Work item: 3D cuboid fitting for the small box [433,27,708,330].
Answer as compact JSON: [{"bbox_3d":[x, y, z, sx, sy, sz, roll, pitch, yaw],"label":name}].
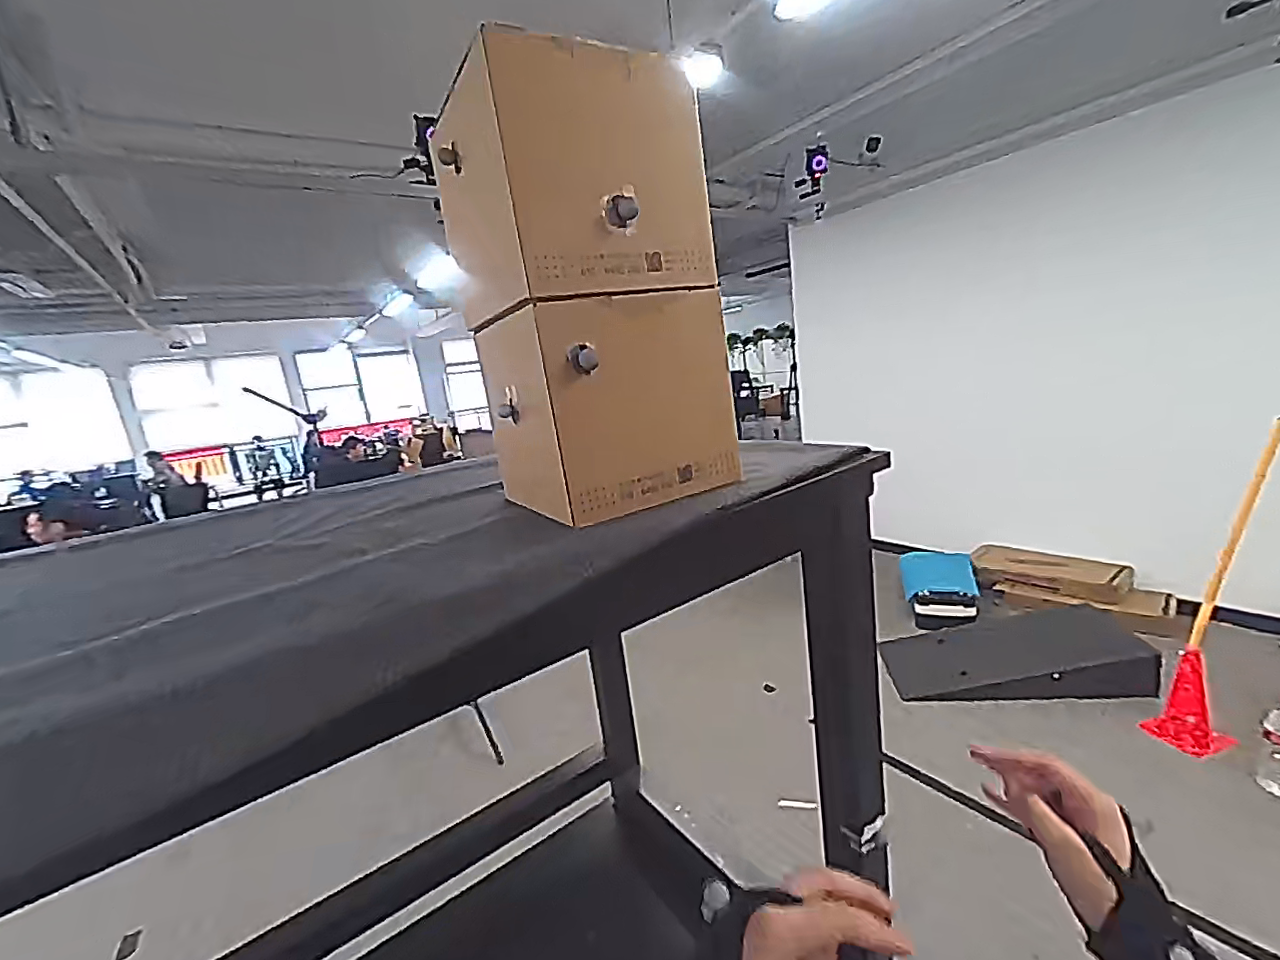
[{"bbox_3d":[-0.063,-0.229,0.463,0.168,0.176,0.179,-16,14,-29],"label":"small box"}]
